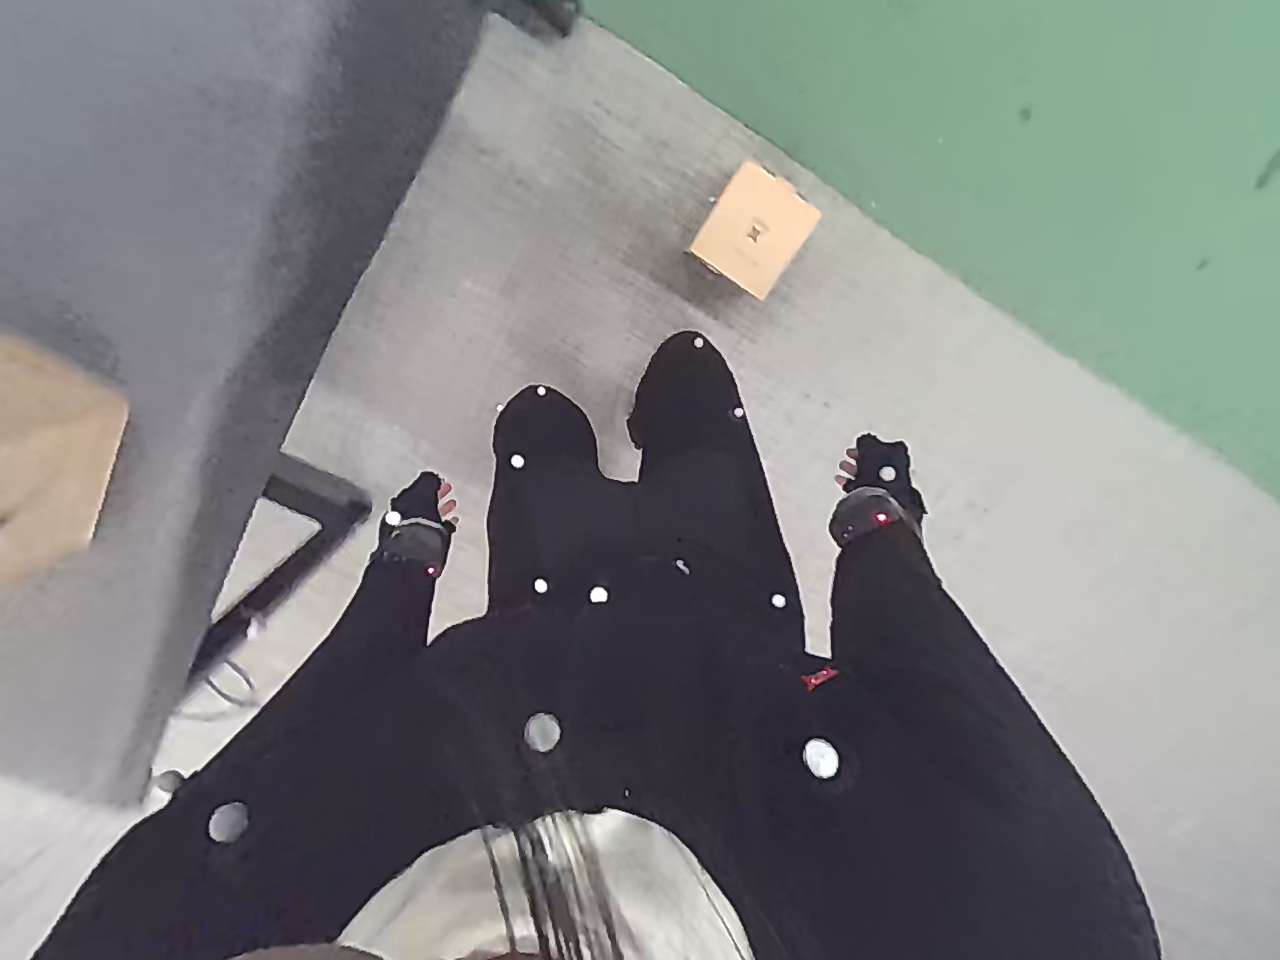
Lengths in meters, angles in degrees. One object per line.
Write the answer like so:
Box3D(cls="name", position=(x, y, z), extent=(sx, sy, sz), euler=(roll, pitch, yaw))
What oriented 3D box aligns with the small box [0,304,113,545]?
Box3D(cls="small box", position=(-0.571, -0.040, 0.414), extent=(0.168, 0.176, 0.179), euler=(32, 110, -12))
